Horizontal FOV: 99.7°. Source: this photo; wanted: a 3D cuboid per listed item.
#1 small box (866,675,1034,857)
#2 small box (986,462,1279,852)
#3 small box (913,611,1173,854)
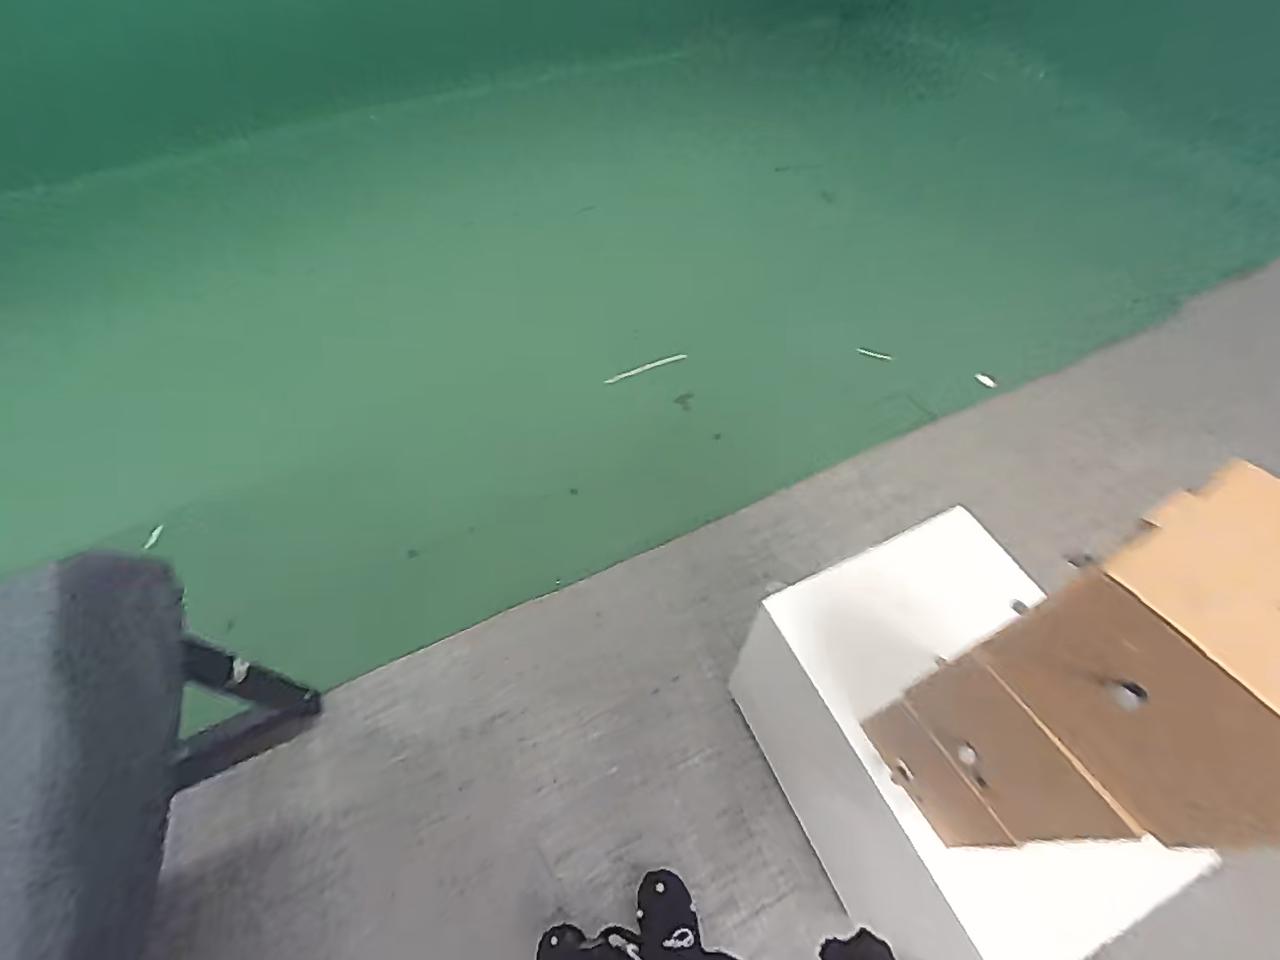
[{"bbox_3d":[0.406,0.312,0.644,0.179,0.176,0.168,-26,58,-13],"label":"small box"},{"bbox_3d":[0.394,0.126,0.375,0.168,0.176,0.179,-27,58,-14],"label":"small box"},{"bbox_3d":[0.402,0.216,0.511,0.179,0.176,0.168,-27,59,-16],"label":"small box"}]
